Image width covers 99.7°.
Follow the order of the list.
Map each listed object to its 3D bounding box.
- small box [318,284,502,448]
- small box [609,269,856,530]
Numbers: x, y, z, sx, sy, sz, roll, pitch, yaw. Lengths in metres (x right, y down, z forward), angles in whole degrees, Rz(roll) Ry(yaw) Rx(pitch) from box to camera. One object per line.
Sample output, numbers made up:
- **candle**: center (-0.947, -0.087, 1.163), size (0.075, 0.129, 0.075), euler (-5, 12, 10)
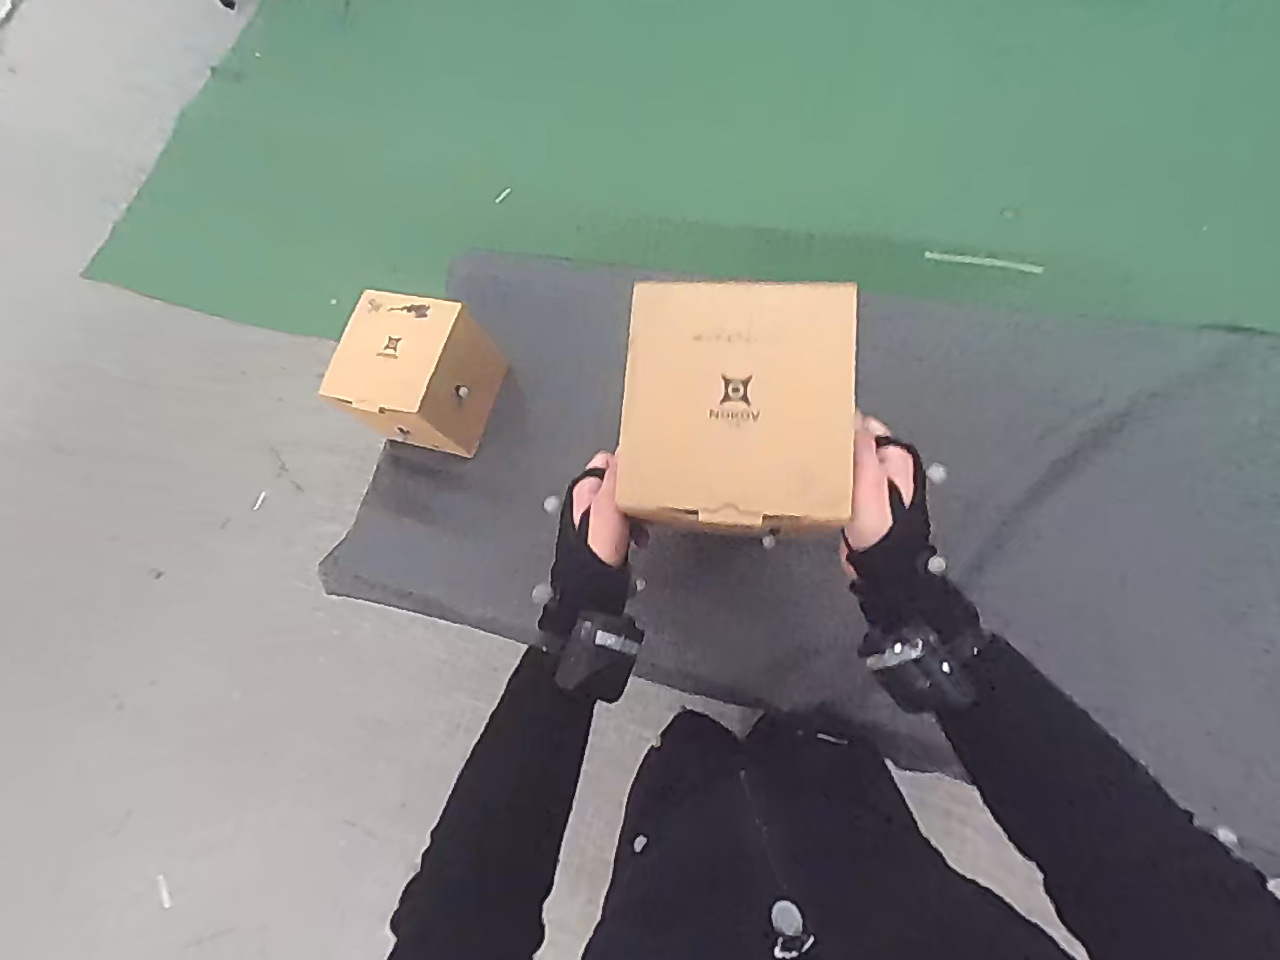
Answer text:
- **small box**: center (-0.331, -0.163, 0.816), size (0.168, 0.176, 0.179), euler (13, 77, 13)
- **small box**: center (0.075, -0.054, 0.460), size (0.168, 0.176, 0.179), euler (4, 79, 6)
